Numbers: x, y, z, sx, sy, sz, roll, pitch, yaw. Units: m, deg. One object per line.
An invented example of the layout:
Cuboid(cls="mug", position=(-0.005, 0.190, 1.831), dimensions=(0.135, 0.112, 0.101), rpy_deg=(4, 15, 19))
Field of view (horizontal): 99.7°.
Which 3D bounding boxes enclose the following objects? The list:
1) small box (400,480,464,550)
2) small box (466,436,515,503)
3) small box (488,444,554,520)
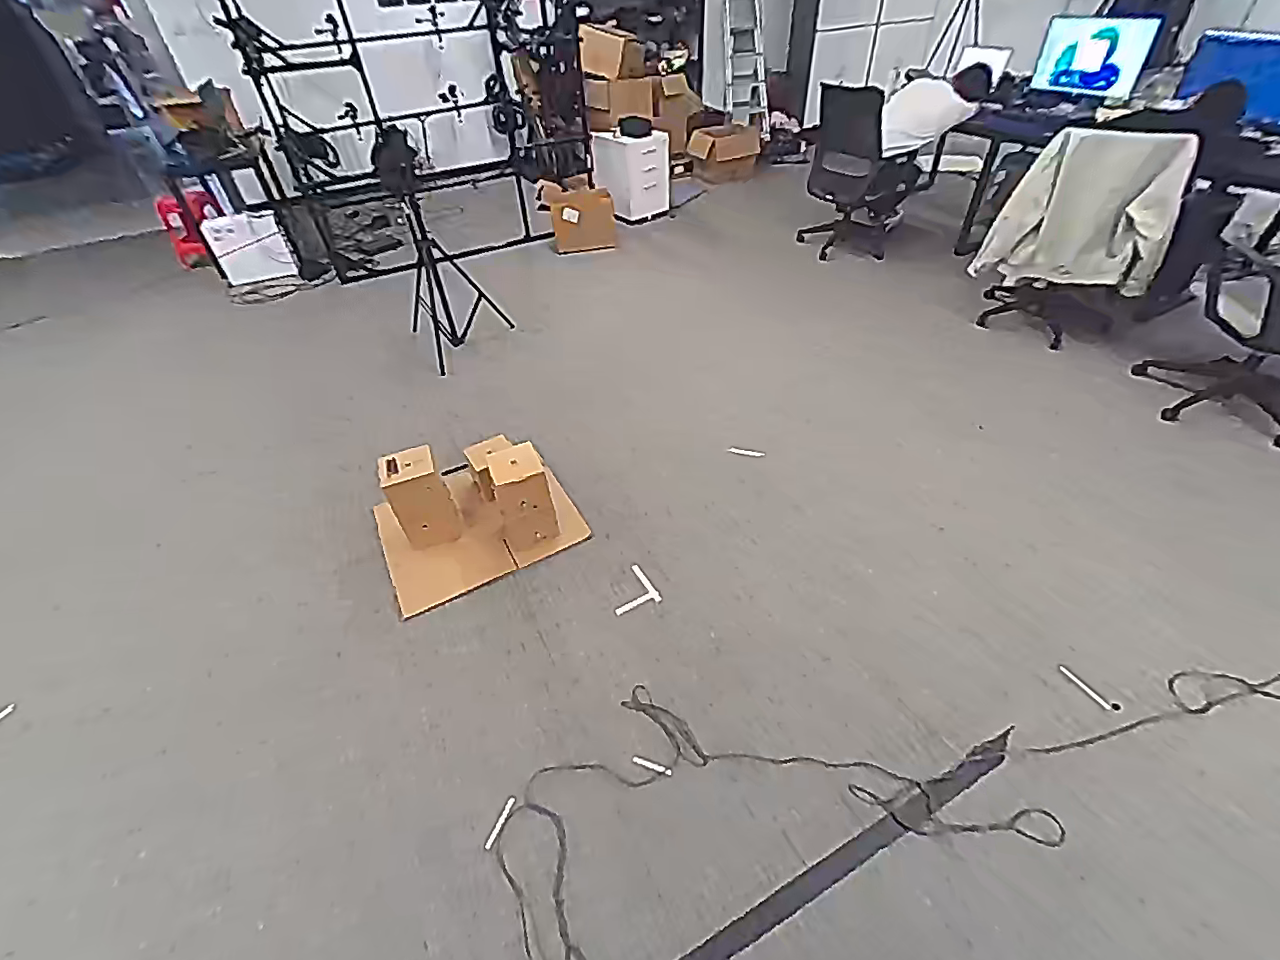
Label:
Cuboid(cls="small box", position=(-0.769, 0.133, 2.002), dimensions=(0.179, 0.176, 0.168), rpy_deg=(-17, 45, -11))
Cuboid(cls="small box", position=(-0.572, -0.042, 2.178), dimensions=(0.179, 0.176, 0.168), rpy_deg=(-26, 46, -21))
Cuboid(cls="small box", position=(-0.410, 0.009, 1.869), dimensions=(0.168, 0.176, 0.179), rpy_deg=(-20, 46, -16))
